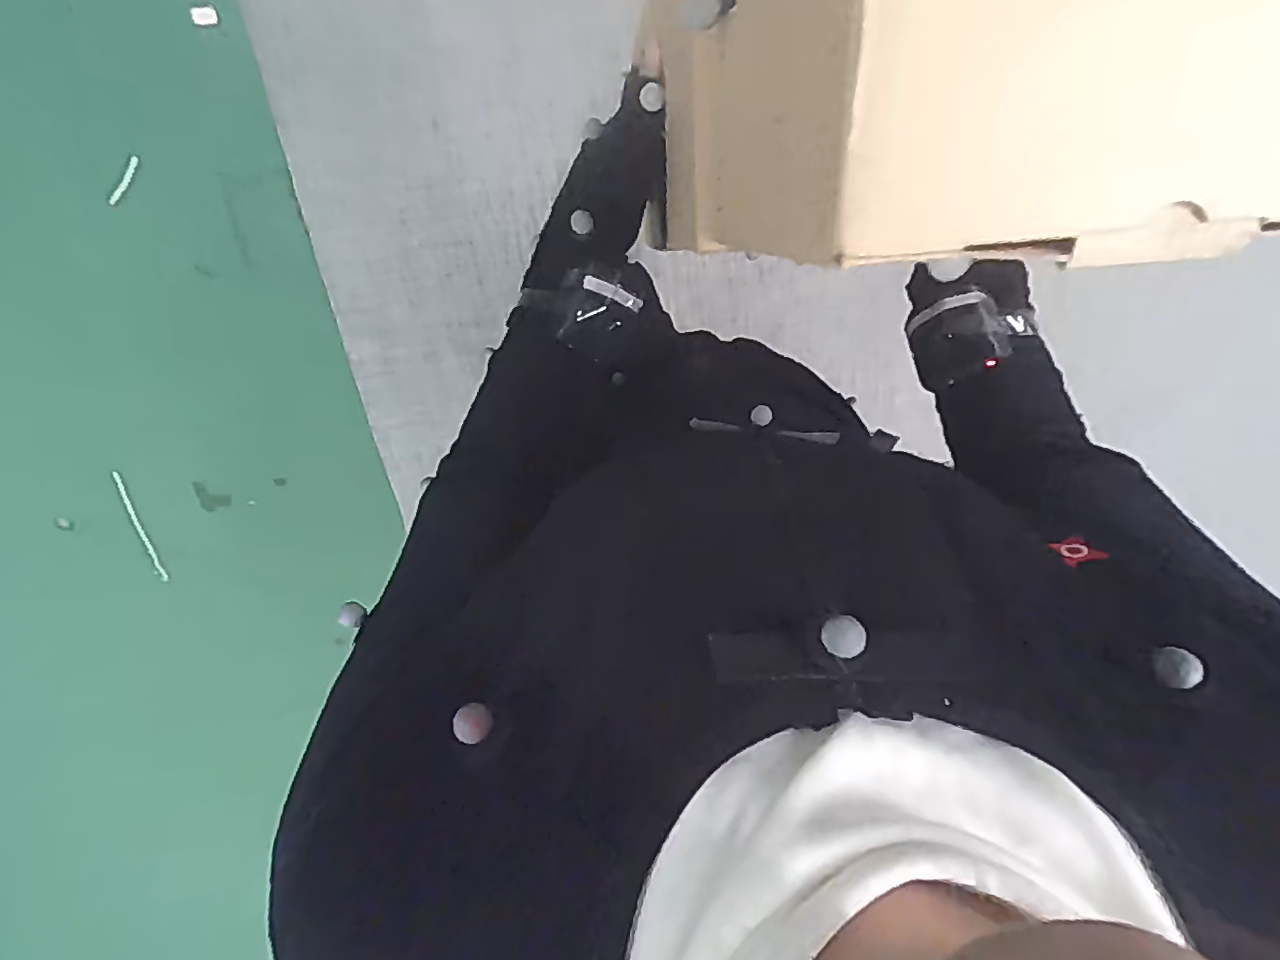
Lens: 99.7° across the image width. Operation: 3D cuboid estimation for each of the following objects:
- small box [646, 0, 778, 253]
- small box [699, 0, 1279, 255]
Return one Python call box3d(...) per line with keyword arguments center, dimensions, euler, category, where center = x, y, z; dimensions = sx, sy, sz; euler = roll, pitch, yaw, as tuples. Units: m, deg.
box3d(center=(0.104, -0.238, 0.323), dimensions=(0.179, 0.176, 0.168), euler=(-8, 116, -1), category="small box")
box3d(center=(0.113, -0.177, 0.171), dimensions=(0.168, 0.176, 0.179), euler=(-5, 117, -1), category="small box")
